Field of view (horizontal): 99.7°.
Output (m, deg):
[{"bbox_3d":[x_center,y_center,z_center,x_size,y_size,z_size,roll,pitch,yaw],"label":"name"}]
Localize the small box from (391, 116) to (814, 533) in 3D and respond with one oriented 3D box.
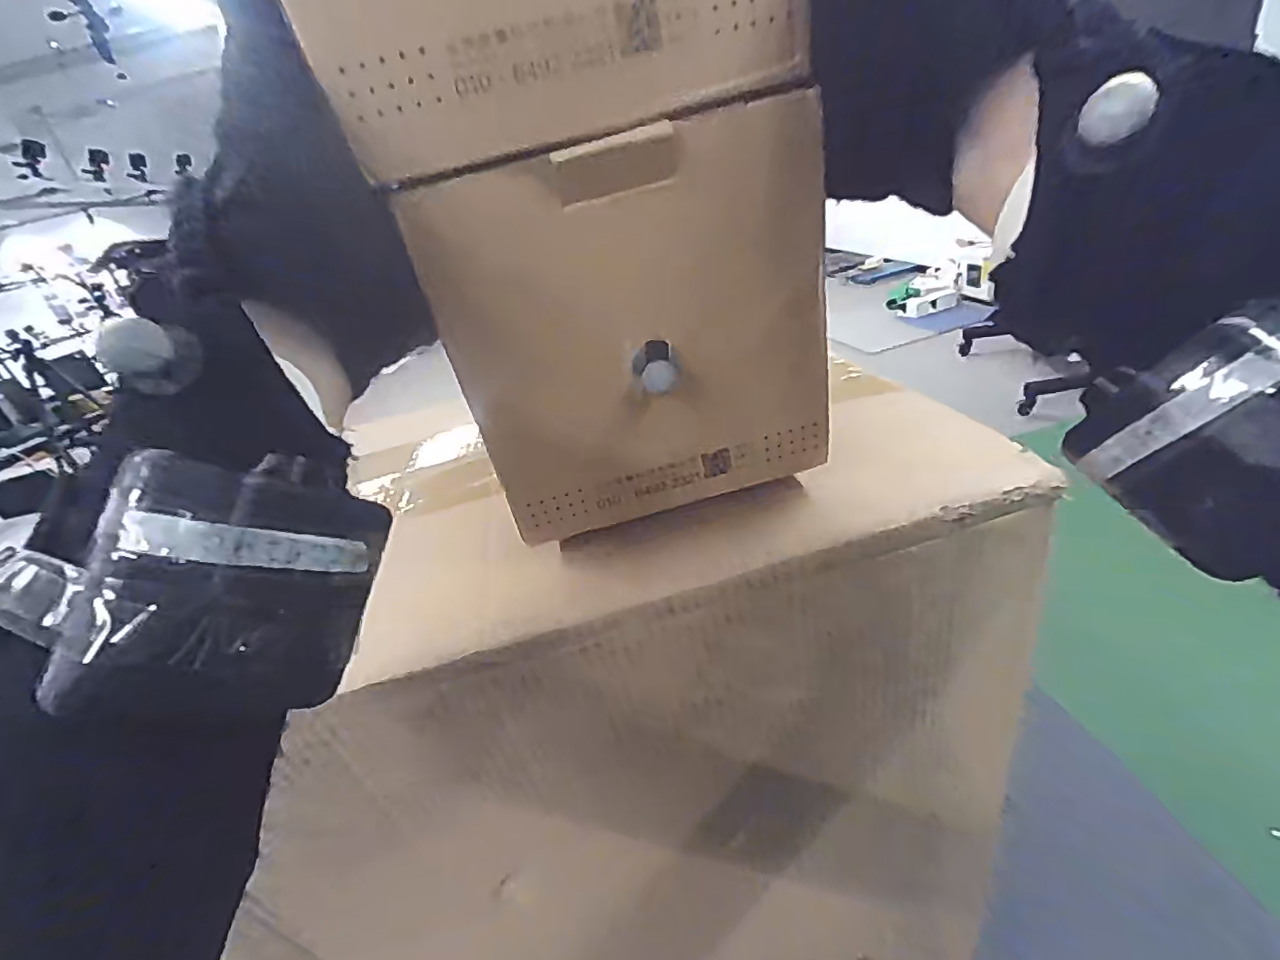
[{"bbox_3d":[-0.011,-0.087,0.310,0.168,0.176,0.179,-15,33,-2],"label":"small box"}]
